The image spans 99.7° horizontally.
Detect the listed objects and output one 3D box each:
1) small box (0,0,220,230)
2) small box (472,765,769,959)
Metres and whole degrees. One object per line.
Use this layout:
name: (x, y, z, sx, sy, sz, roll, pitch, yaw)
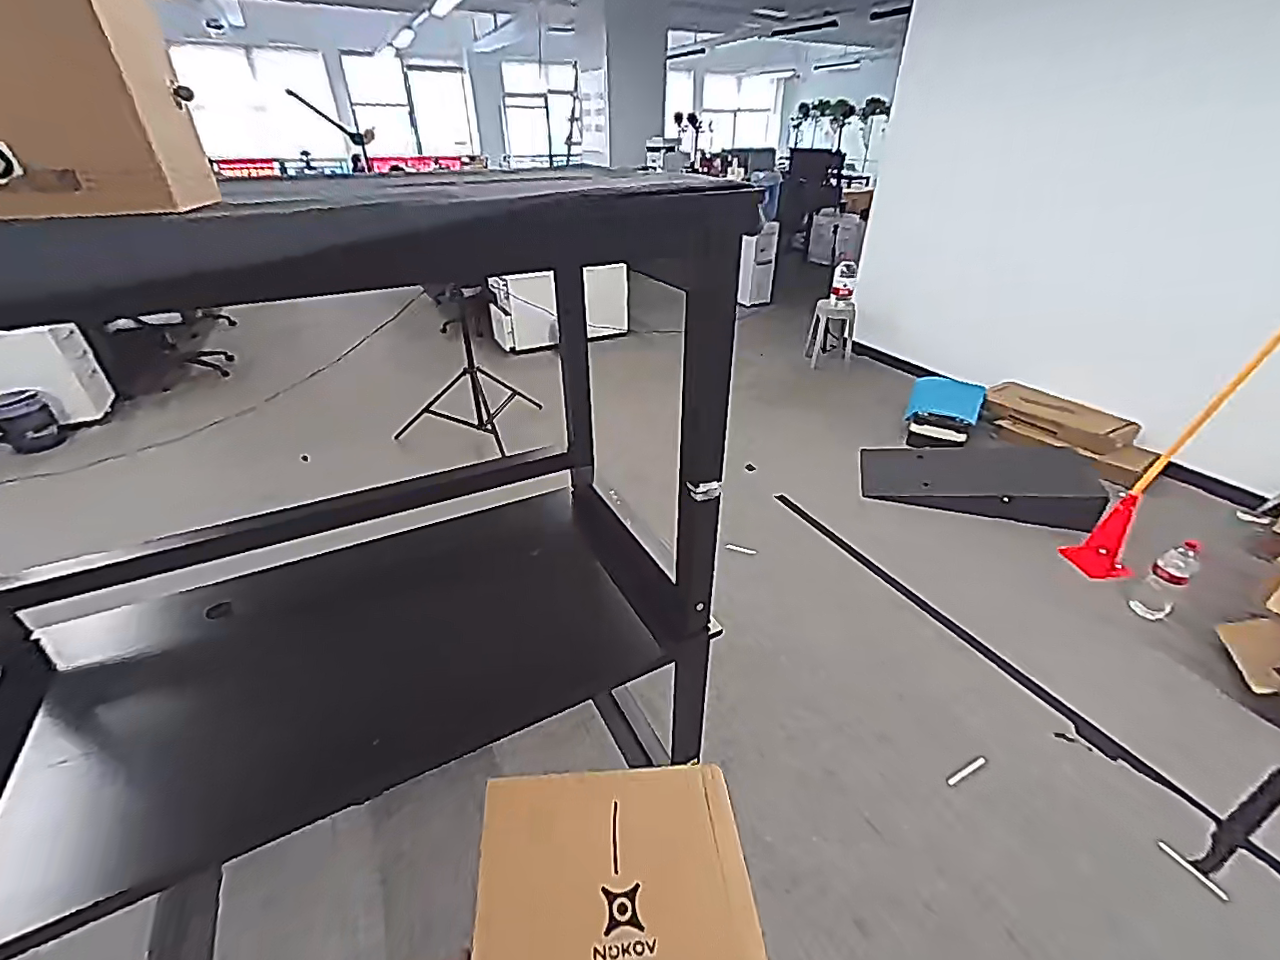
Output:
small box: (-0.468, -0.296, 0.424, 0.168, 0.176, 0.179, -15, 34, -20)
small box: (-0.020, 0.316, 0.353, 0.168, 0.176, 0.179, 2, 38, -11)
